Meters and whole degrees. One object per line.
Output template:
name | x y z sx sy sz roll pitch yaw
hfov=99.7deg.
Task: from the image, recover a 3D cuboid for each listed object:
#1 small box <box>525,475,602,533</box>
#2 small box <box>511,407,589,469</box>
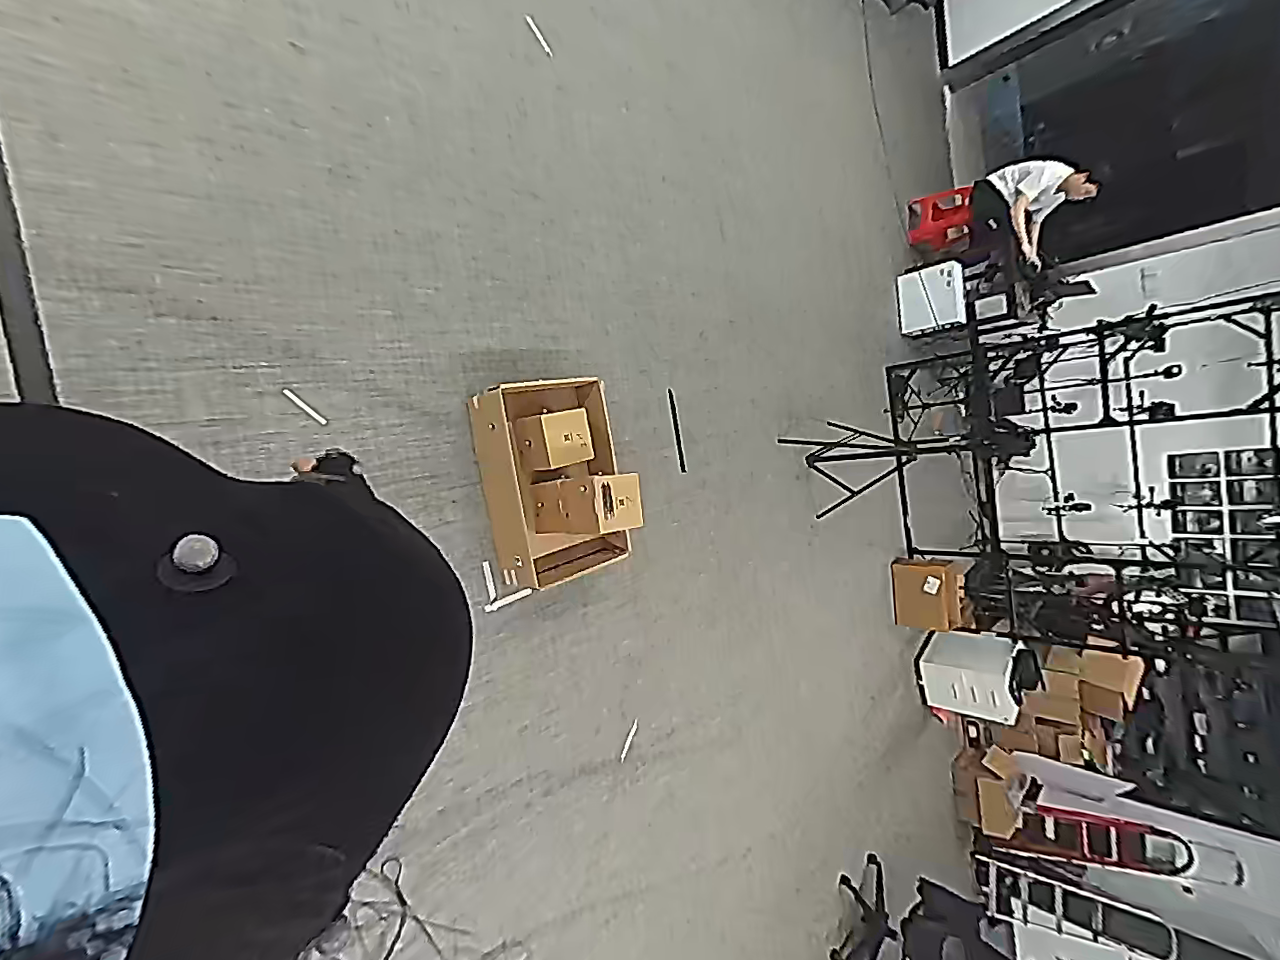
small box | -0.248 0.076 1.754 0.179 0.176 0.168 -9 91 -44
small box | -0.292 -0.132 1.716 0.179 0.176 0.168 -18 102 -44
